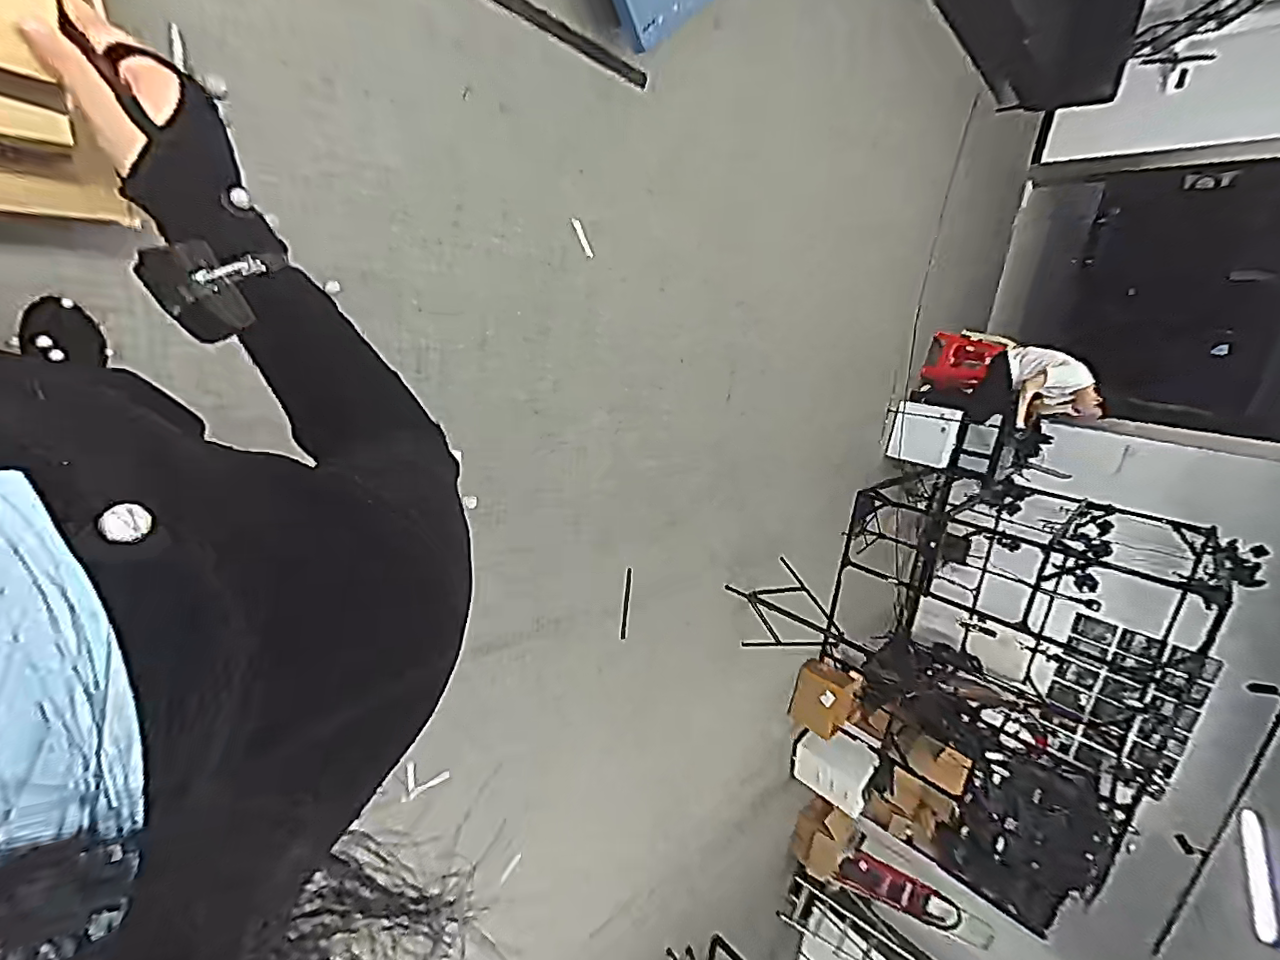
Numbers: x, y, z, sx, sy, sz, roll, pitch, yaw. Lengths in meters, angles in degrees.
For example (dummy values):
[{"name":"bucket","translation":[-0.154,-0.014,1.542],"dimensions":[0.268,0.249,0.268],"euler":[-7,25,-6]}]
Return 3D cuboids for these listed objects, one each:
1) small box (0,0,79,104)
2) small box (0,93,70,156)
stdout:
[{"name":"small box","translation":[-0.458,-0.347,0.316],"dimensions":[0.179,0.176,0.168],"euler":[-3,113,-44]},{"name":"small box","translation":[-0.975,-0.600,0.796],"dimensions":[0.168,0.176,0.179],"euler":[-14,114,-44]}]
